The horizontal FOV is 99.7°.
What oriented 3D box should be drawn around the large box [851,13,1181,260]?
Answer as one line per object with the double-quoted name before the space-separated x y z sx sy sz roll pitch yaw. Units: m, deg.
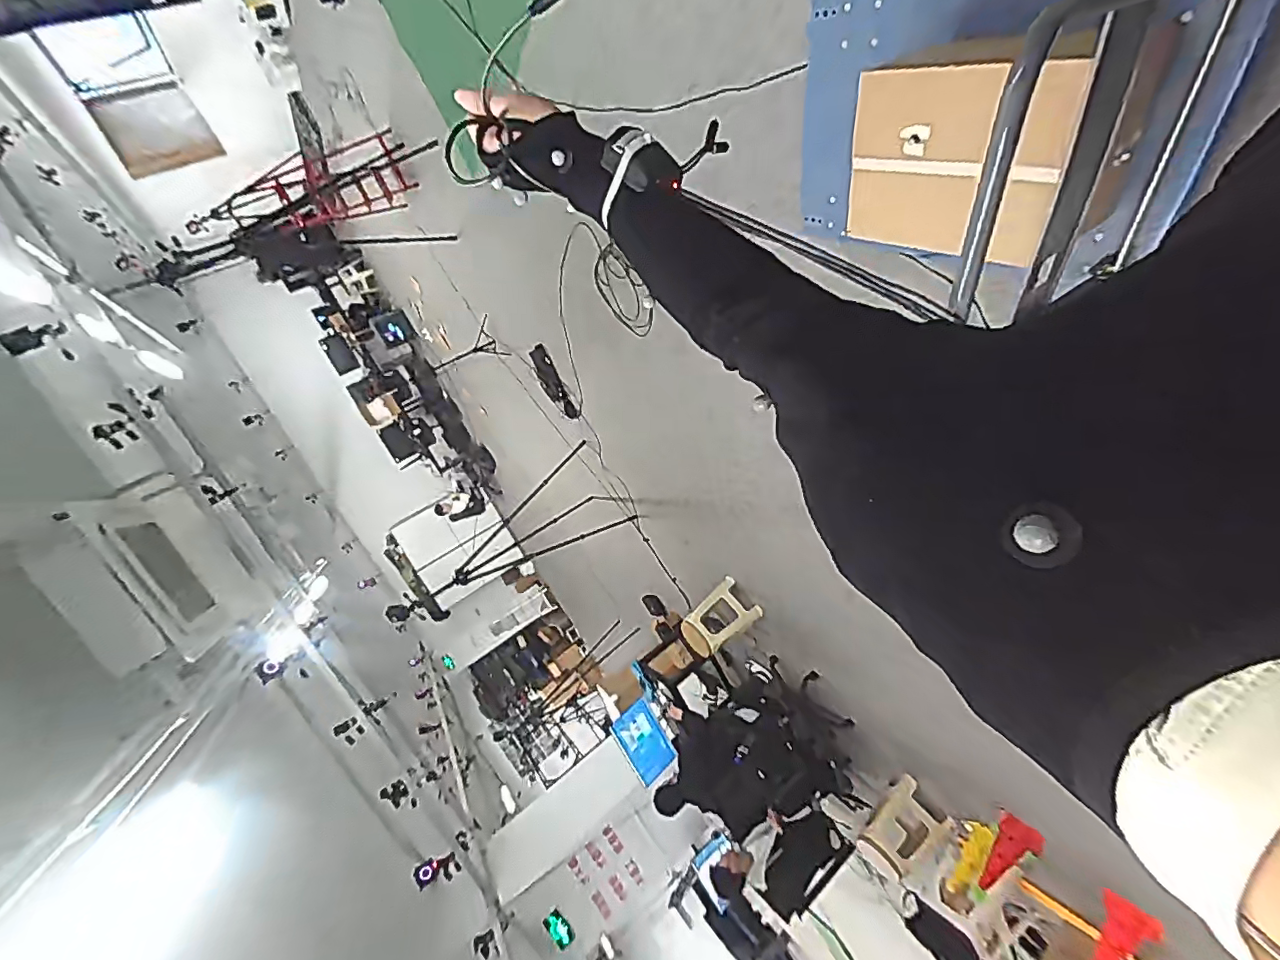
"large box" 0.693 -0.670 1.064 0.408 0.320 0.320 37 150 41
